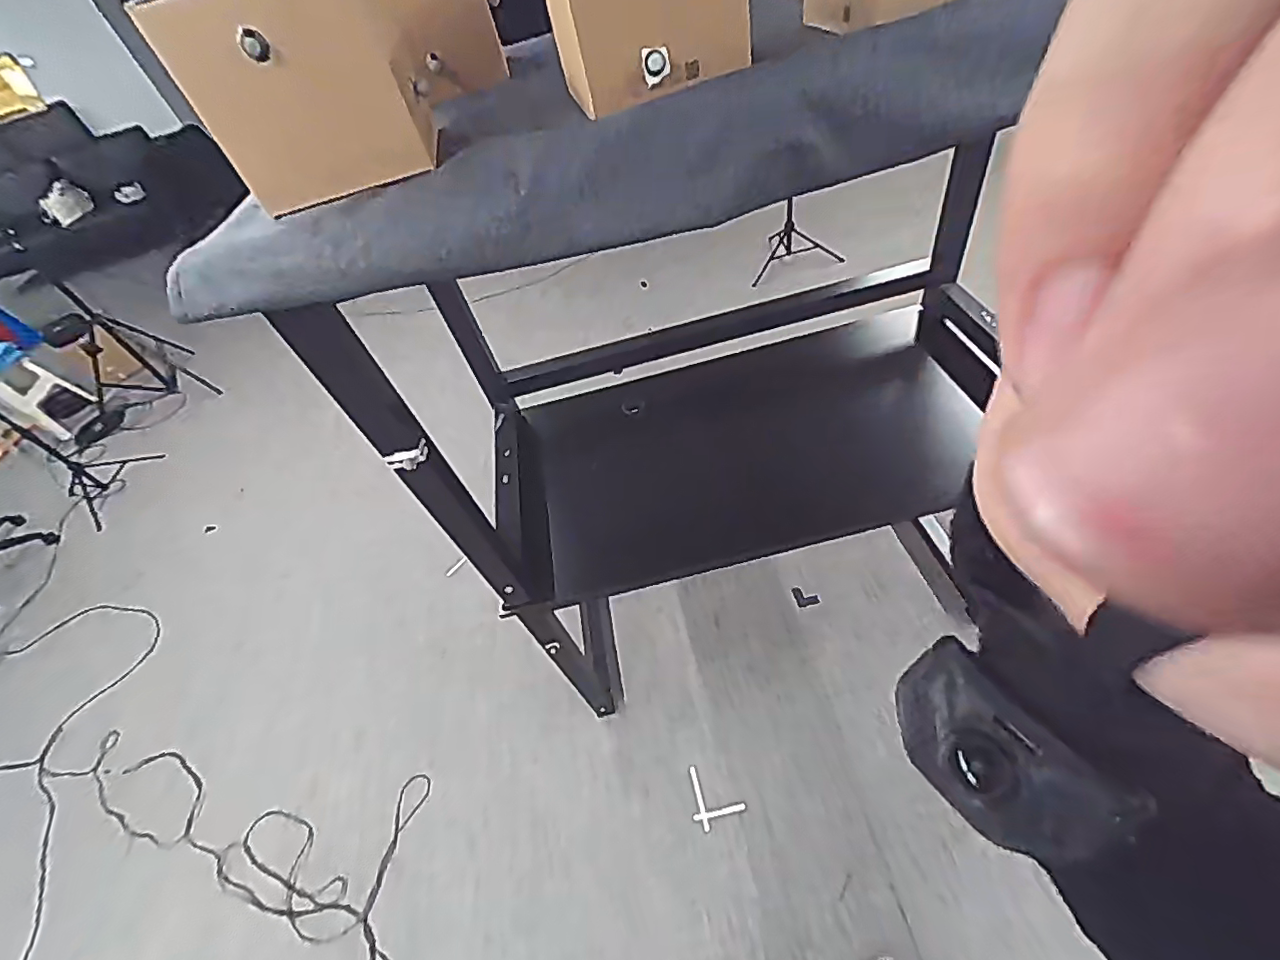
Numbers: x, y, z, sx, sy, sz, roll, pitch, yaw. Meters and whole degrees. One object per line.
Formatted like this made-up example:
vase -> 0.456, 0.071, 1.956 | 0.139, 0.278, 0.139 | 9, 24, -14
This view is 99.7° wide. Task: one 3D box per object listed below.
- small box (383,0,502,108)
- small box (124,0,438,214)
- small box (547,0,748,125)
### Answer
small box -> -0.292, -0.621, 0.725 | 0.179, 0.176, 0.168 | -16, 49, -1
small box -> -0.324, -0.390, 0.535 | 0.179, 0.176, 0.168 | -17, 48, -2
small box -> -0.003, -0.476, 0.530 | 0.168, 0.176, 0.179 | -19, 47, -1
